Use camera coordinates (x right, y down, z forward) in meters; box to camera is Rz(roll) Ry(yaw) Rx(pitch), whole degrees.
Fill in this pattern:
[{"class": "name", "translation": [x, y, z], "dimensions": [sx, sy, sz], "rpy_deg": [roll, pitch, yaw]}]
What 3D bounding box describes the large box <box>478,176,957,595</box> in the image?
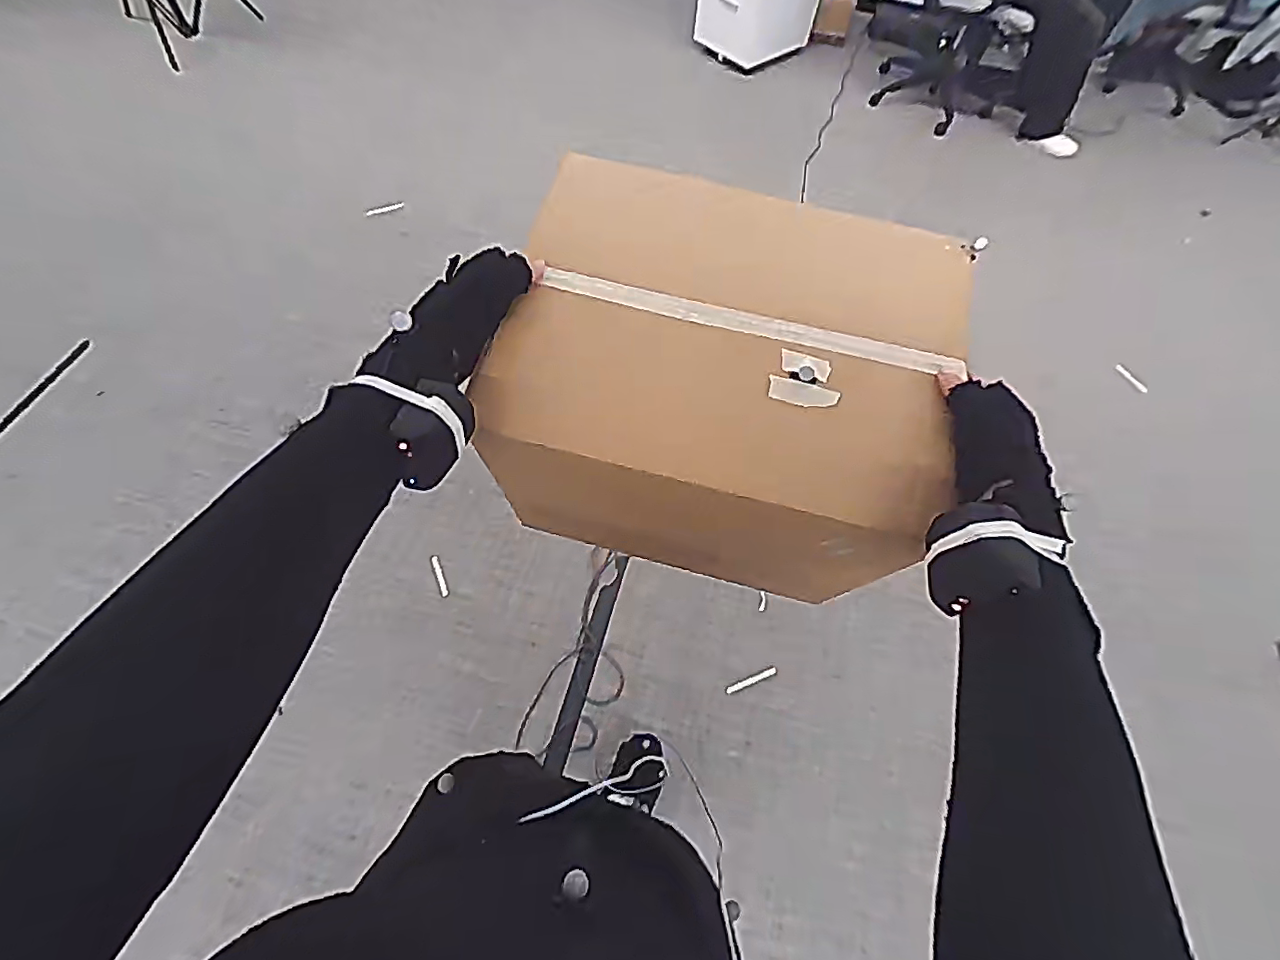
[{"class": "large box", "translation": [0.081, -0.082, 0.635], "dimensions": [0.408, 0.320, 0.320], "rpy_deg": [14, 70, 3]}]
